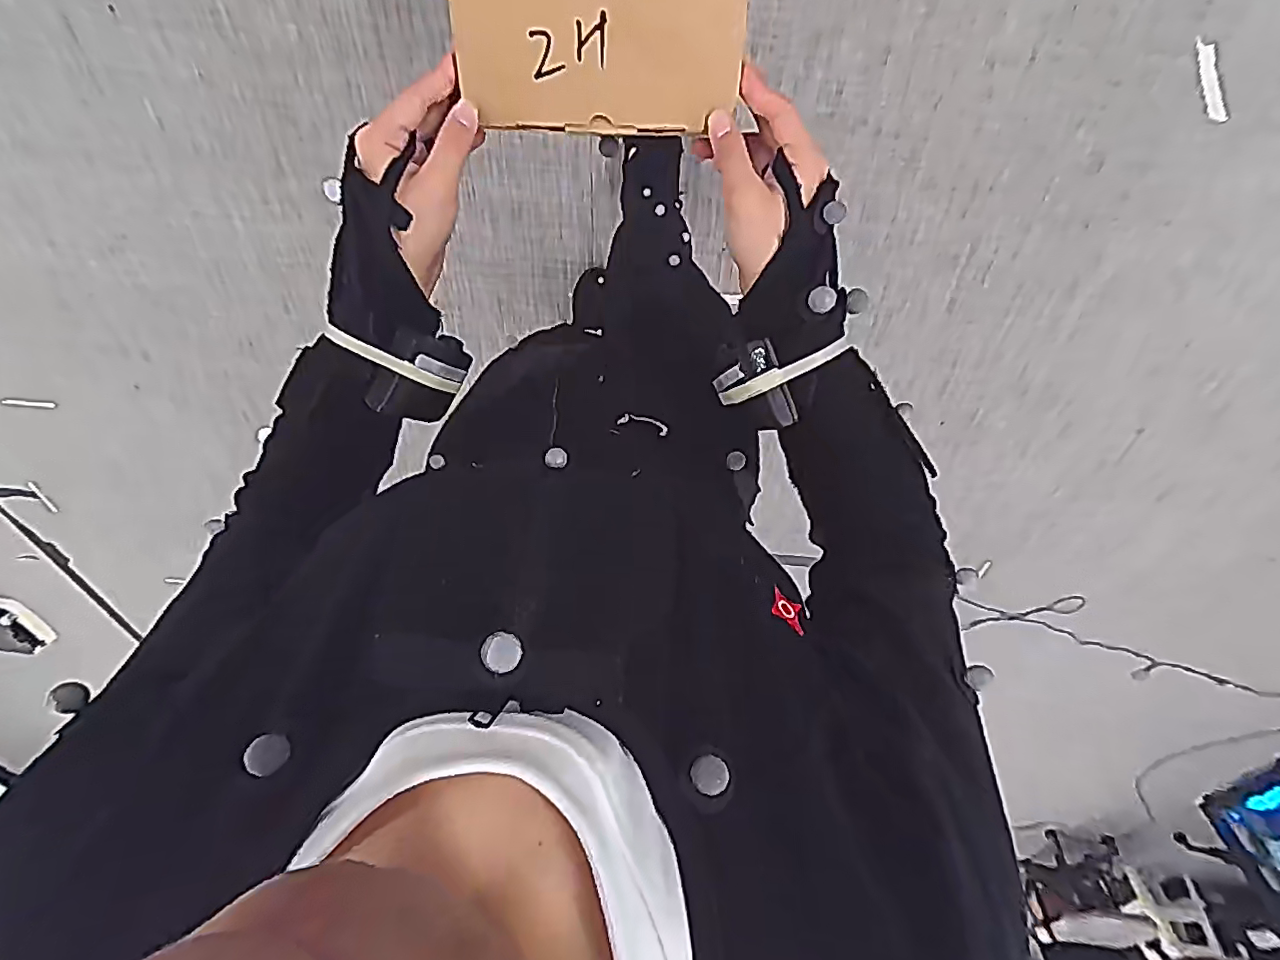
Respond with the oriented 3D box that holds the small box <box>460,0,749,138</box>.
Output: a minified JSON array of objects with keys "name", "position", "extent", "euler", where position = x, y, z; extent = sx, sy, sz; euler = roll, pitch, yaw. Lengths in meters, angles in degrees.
[{"name":"small box","position":[-0.020,-0.334,0.358],"extent":[0.168,0.176,0.179],"euler":[1,122,0]}]
